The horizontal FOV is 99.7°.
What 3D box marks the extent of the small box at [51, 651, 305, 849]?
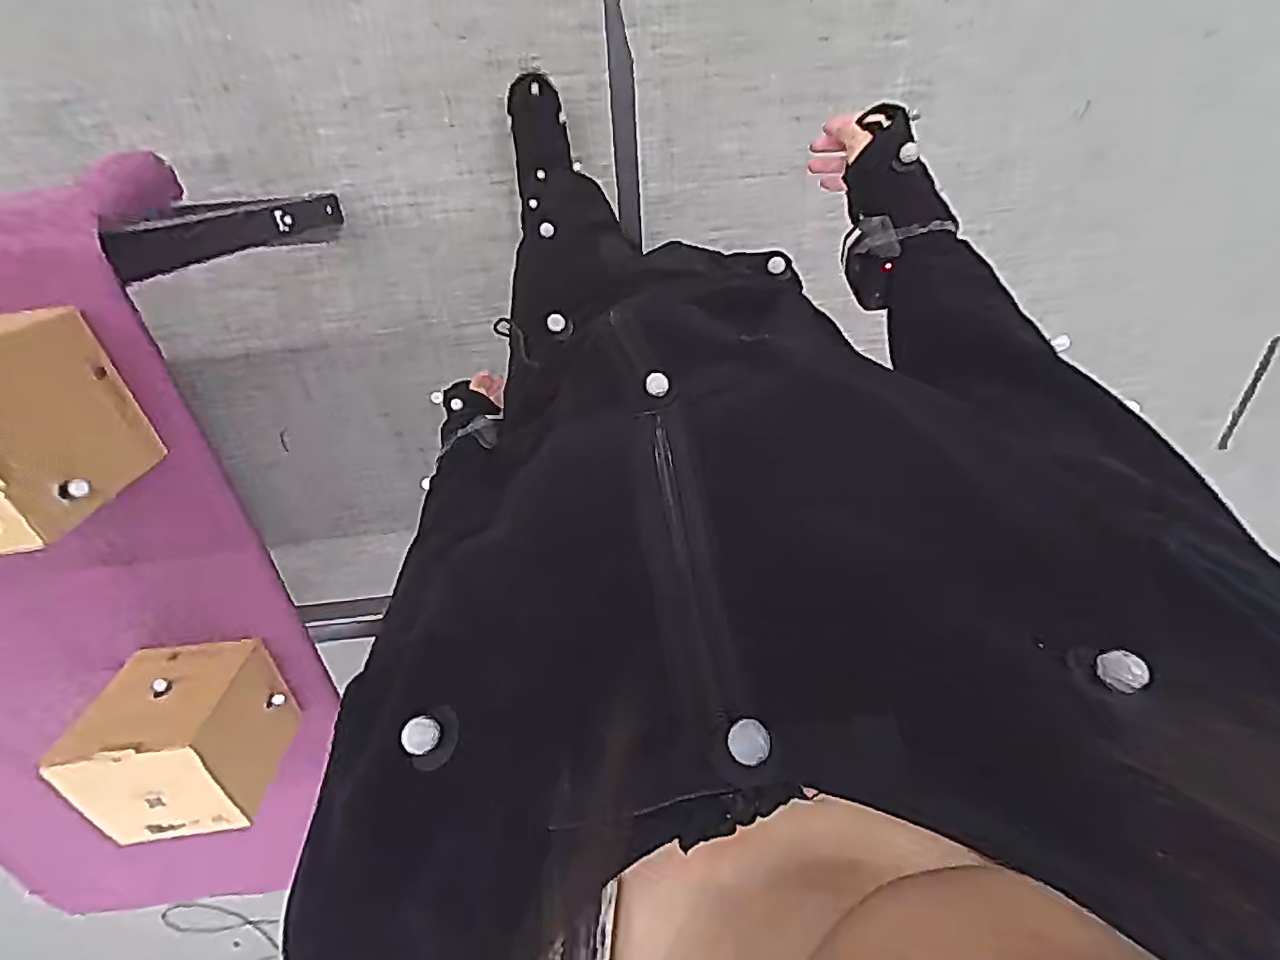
[{"bbox_3d":[-0.589,0.348,0.723,0.168,0.176,0.179,-5,121,-5],"label":"small box"}]
